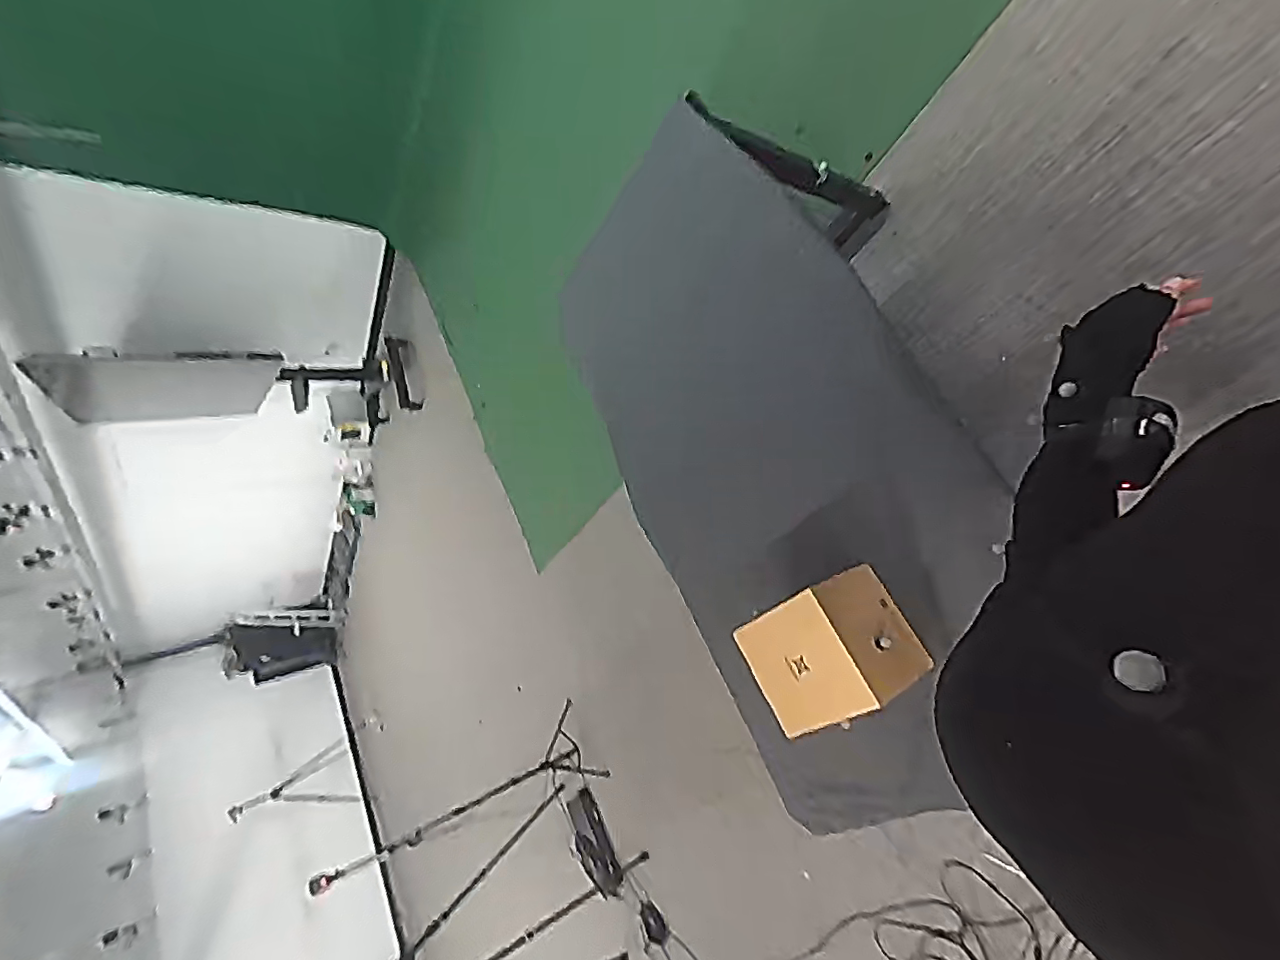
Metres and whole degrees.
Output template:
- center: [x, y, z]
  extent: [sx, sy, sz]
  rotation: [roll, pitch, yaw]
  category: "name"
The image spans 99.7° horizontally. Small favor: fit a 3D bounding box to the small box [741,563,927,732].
- center: [0.293, 0.244, 0.807]
  extent: [0.179, 0.176, 0.168]
  rotation: [-50, 59, 44]
  category: "small box"
